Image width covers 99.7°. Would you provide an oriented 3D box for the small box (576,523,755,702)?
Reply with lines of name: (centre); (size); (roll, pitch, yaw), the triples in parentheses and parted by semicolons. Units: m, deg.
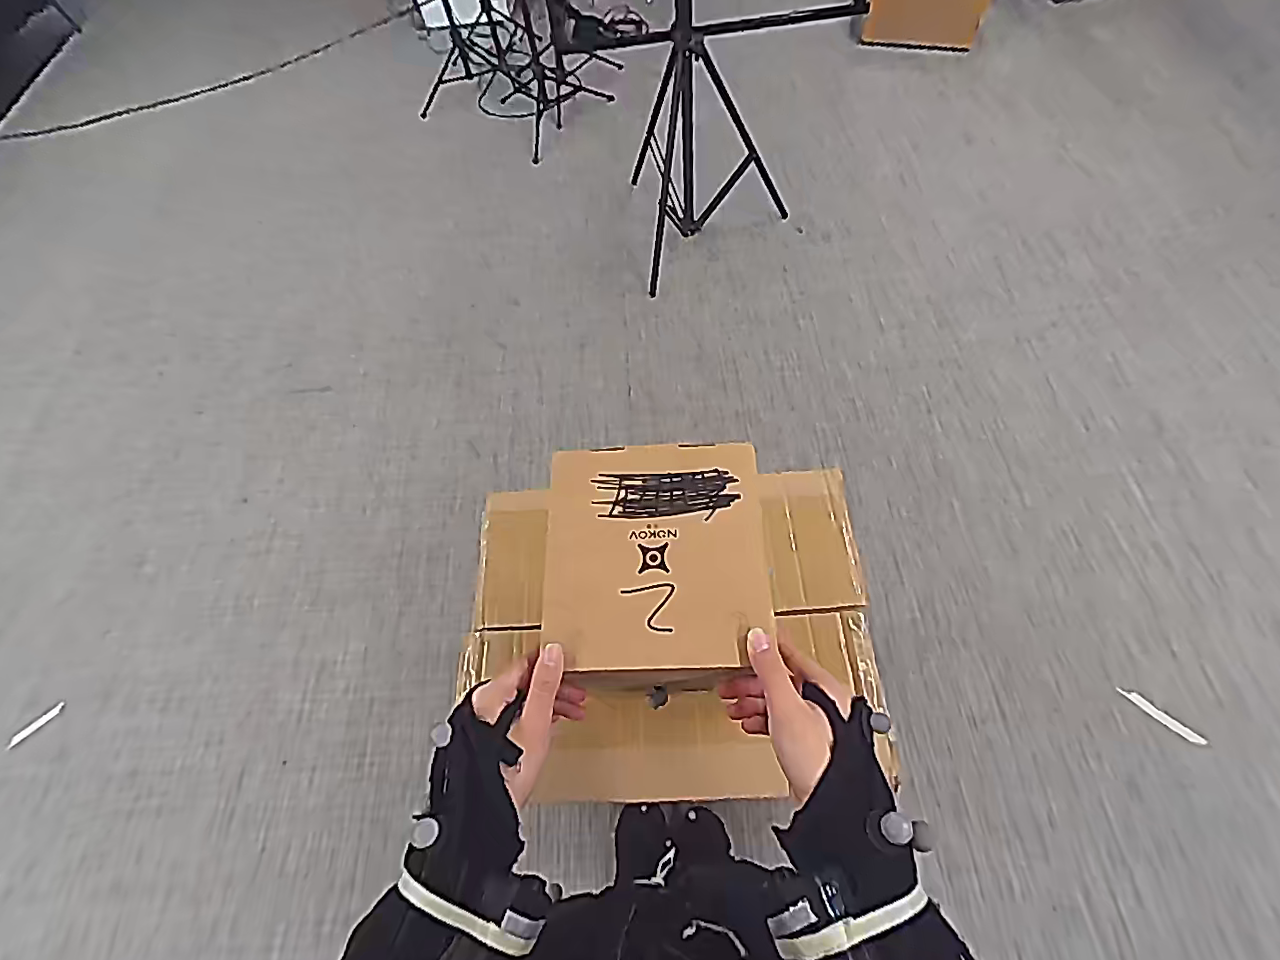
small box: (0.031, 0.159, 0.623); (0.179, 0.176, 0.168); (-3, 63, 4)
